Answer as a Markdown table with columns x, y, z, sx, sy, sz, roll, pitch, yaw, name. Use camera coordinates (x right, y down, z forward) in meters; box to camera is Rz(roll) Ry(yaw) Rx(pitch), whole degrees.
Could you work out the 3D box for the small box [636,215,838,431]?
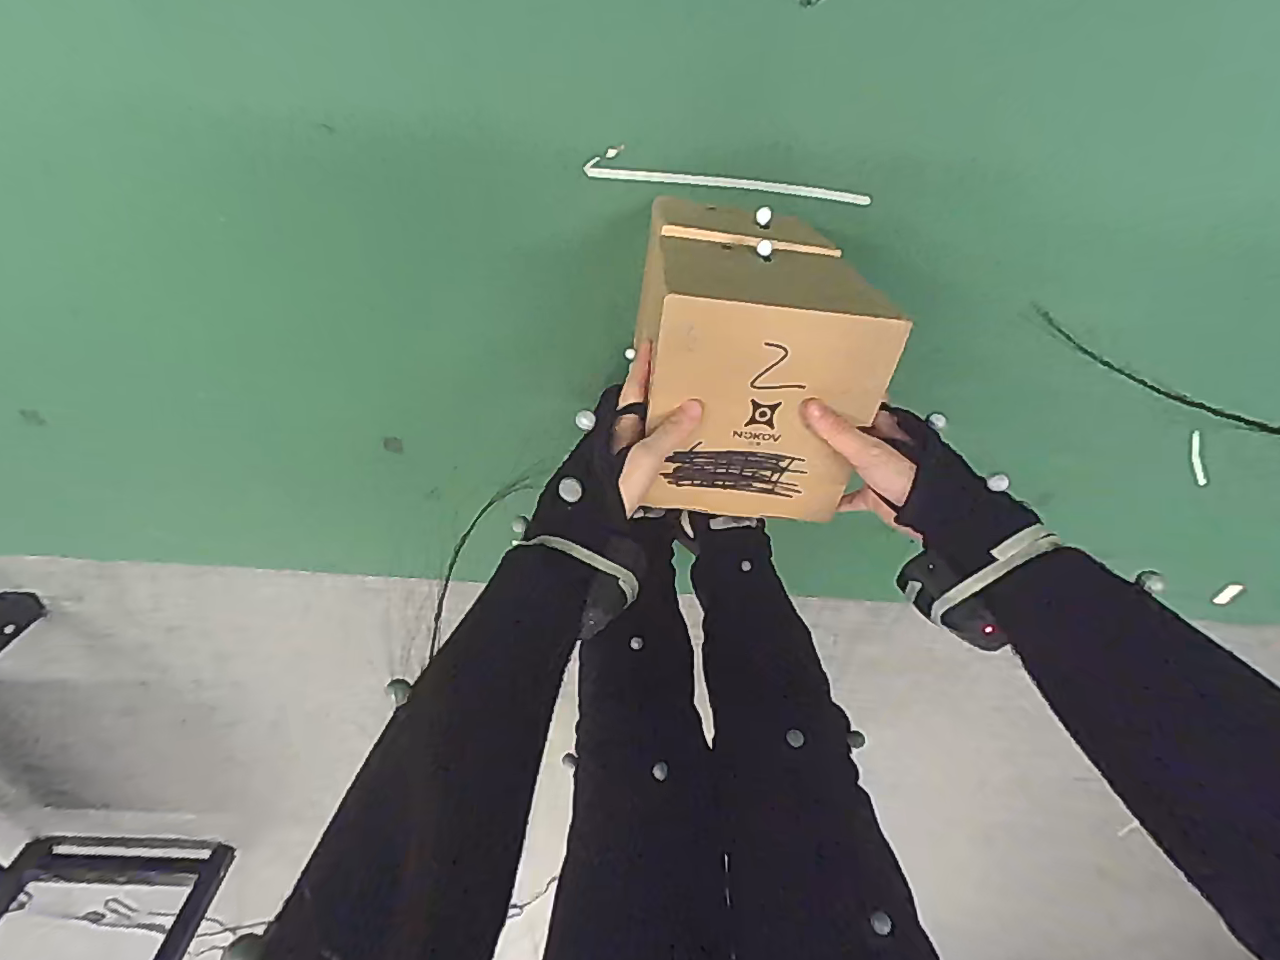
| x | y | z | sx | sy | sz | roll | pitch | yaw | name |
| --- | --- | --- | --- | --- | --- | --- | --- | --- | --- |
| 0.087 | -0.177 | 0.594 | 0.168 | 0.176 | 0.179 | 6 | 126 | -5 | small box |
